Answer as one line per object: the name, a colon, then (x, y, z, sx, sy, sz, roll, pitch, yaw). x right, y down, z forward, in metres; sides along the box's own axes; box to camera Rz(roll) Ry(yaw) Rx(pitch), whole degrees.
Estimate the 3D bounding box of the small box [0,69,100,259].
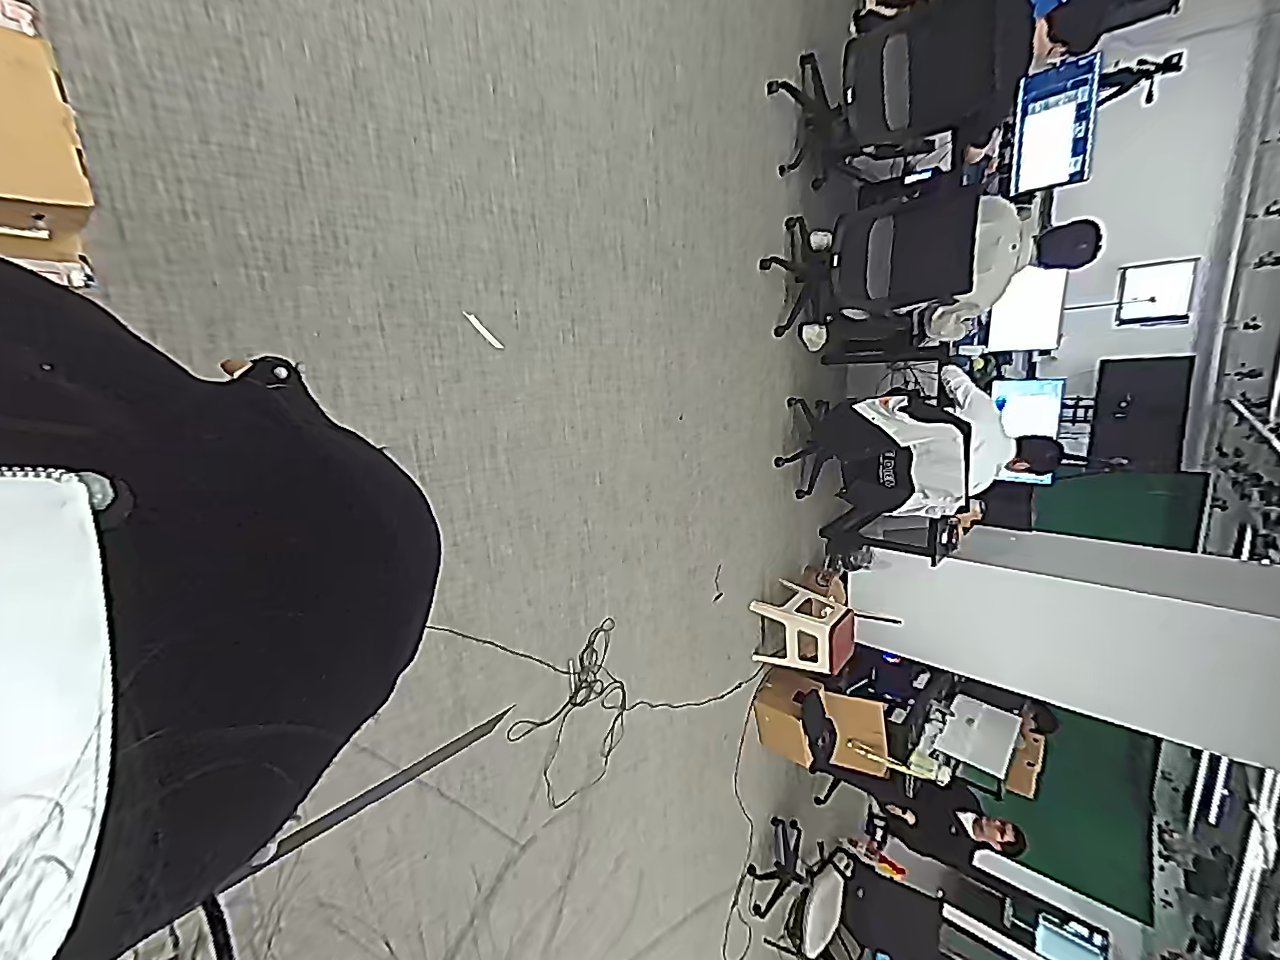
small box: (-0.744, -0.343, 0.591, 0.179, 0.176, 0.168, -20, 112, -46)
